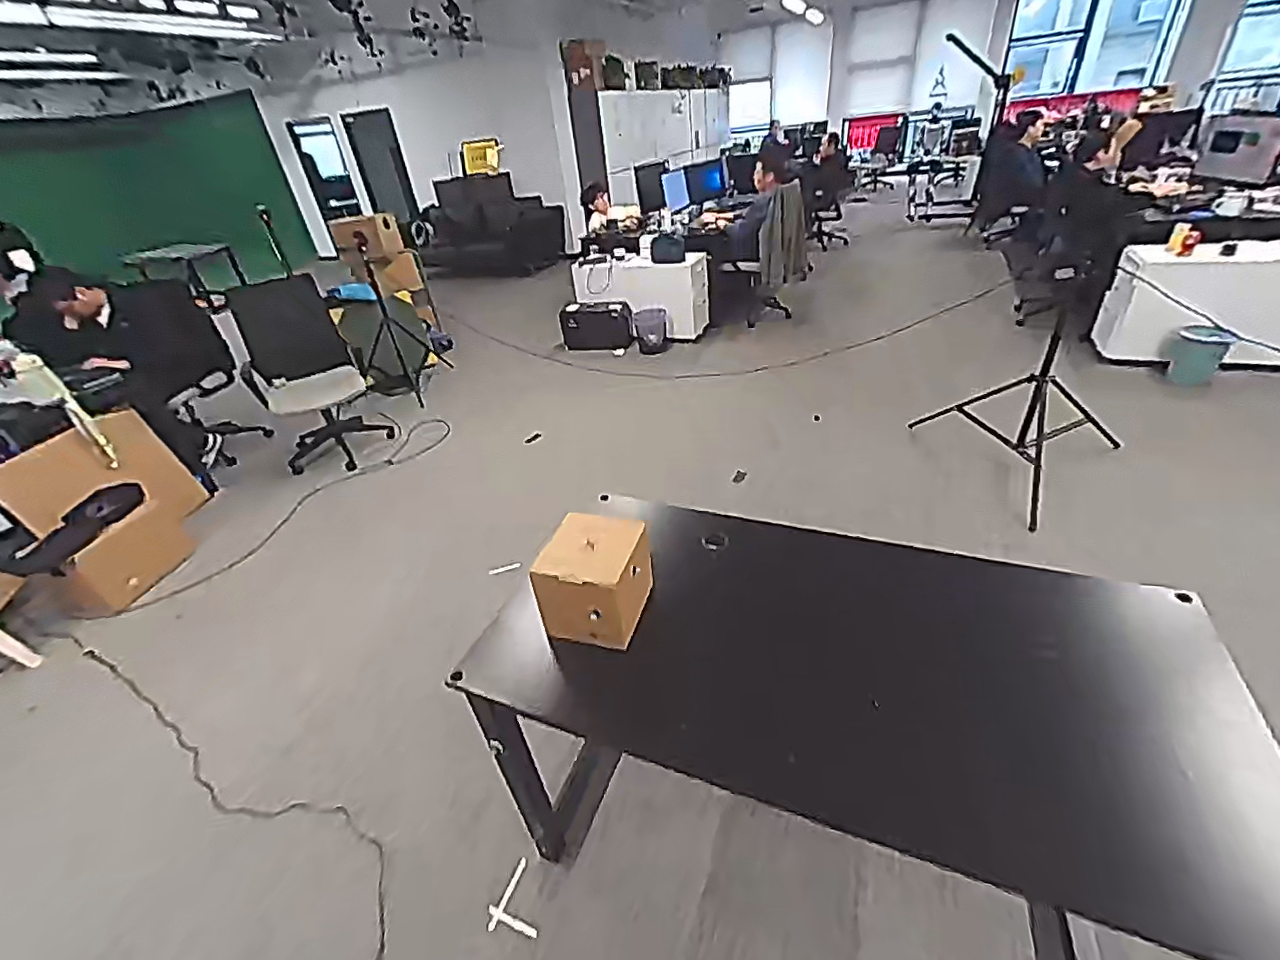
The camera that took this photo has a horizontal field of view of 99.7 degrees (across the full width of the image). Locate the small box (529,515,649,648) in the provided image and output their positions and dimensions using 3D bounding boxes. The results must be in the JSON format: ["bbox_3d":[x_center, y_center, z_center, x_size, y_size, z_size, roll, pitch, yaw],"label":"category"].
[{"bbox_3d":[-0.085,0.192,1.029,0.168,0.176,0.179,6,35,17],"label":"small box"}]
